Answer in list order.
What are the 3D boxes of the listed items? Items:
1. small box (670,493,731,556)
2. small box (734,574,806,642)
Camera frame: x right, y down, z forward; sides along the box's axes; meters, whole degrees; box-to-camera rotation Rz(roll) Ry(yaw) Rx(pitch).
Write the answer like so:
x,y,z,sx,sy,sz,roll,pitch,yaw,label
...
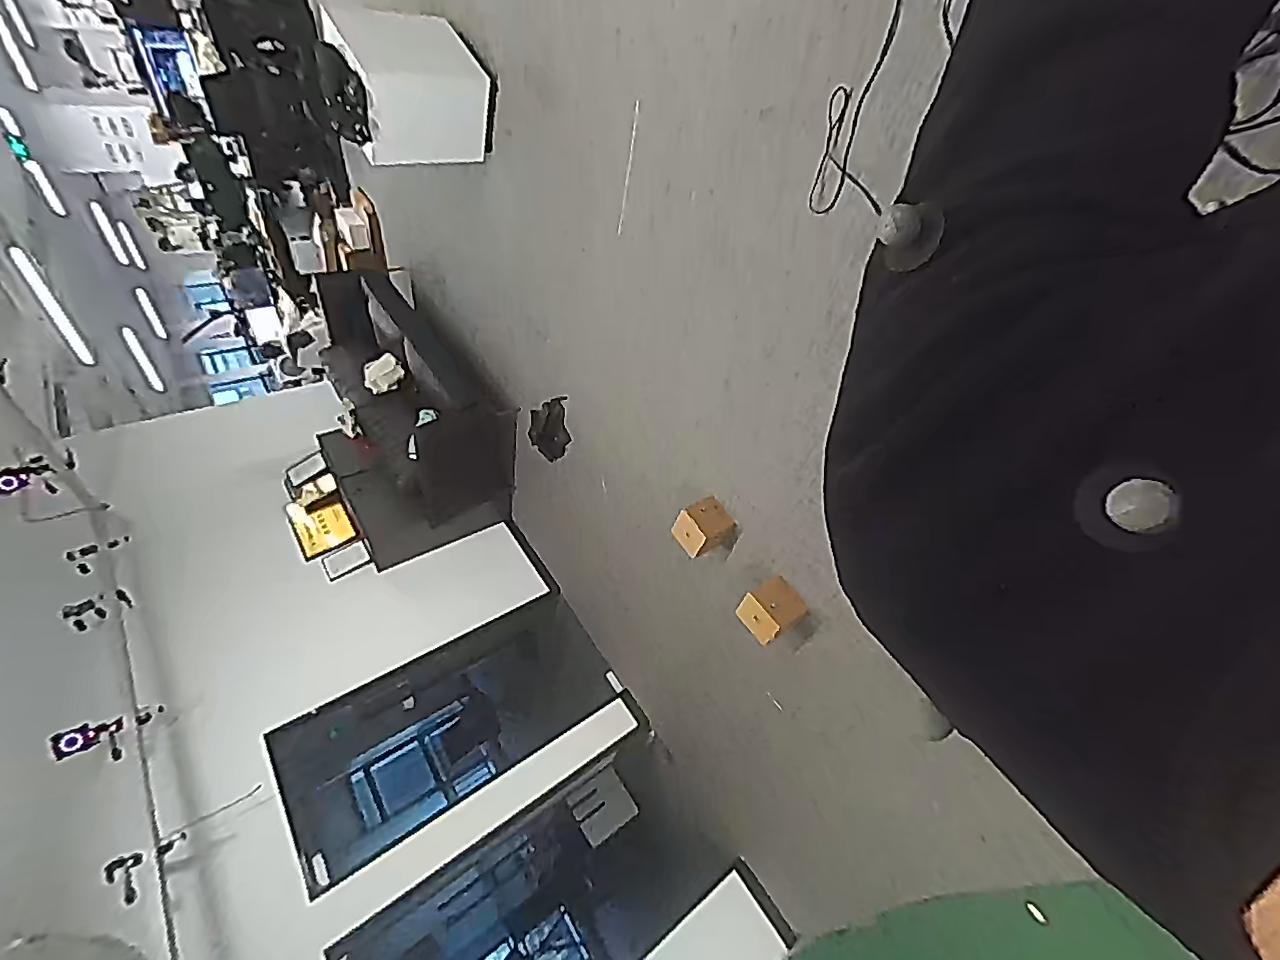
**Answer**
x,y,z,sx,sy,sz,roll,pitch,yaw,label
0.257,0.183,2.275,0.168,0.176,0.179,52,147,25,small box
0.505,0.486,2.095,0.179,0.176,0.168,48,144,27,small box
